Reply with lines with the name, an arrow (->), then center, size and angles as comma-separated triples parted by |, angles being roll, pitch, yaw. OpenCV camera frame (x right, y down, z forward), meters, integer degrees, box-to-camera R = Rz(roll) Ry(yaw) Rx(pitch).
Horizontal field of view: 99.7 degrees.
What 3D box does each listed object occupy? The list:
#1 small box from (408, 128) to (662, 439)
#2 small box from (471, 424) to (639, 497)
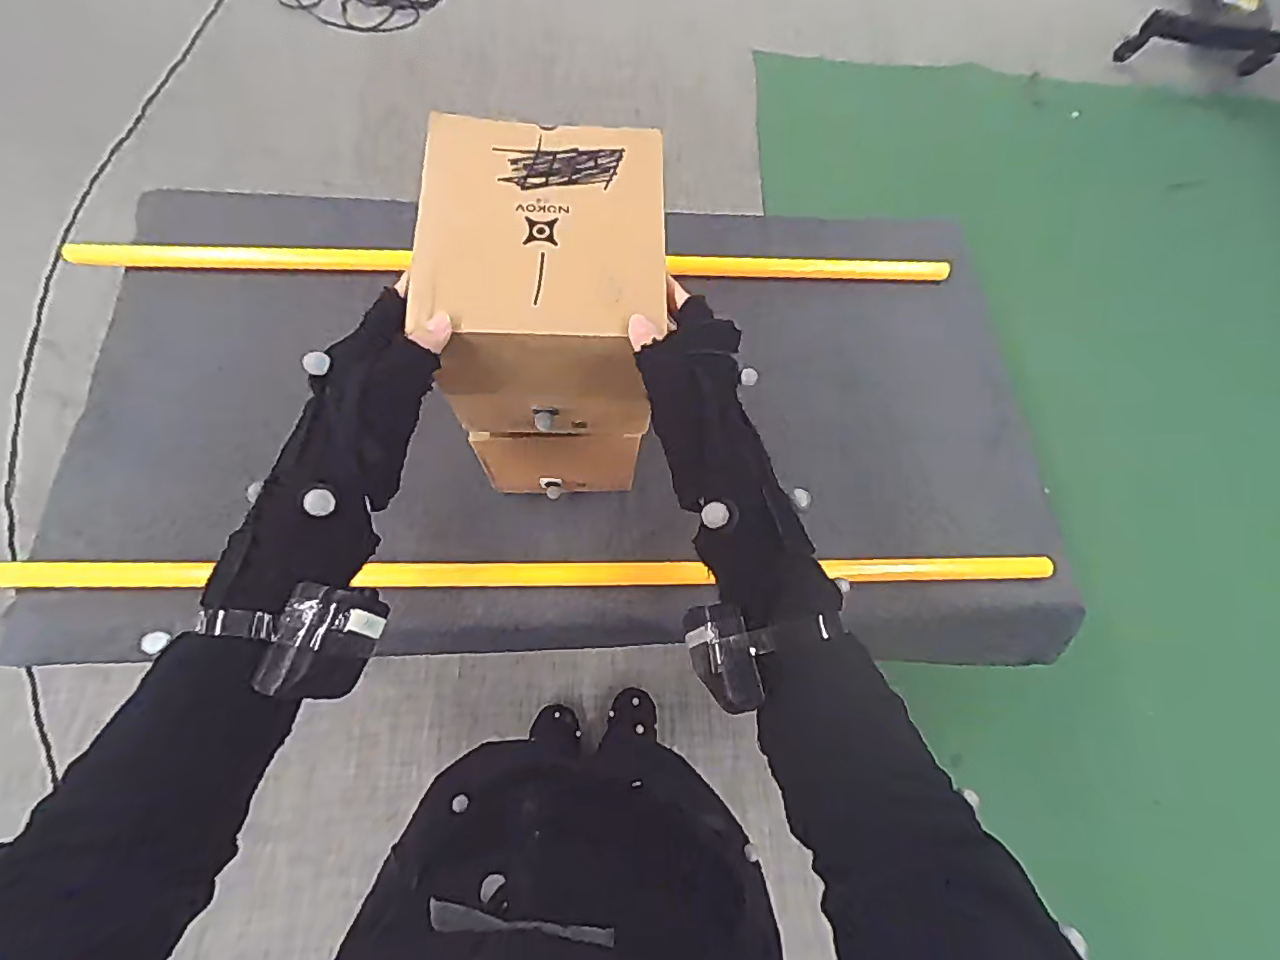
small box -> -0.073, -0.148, 0.449 | 0.168, 0.176, 0.179 | 0, 73, -4
small box -> -0.093, -0.090, 0.629 | 0.168, 0.176, 0.179 | -3, 71, -5
